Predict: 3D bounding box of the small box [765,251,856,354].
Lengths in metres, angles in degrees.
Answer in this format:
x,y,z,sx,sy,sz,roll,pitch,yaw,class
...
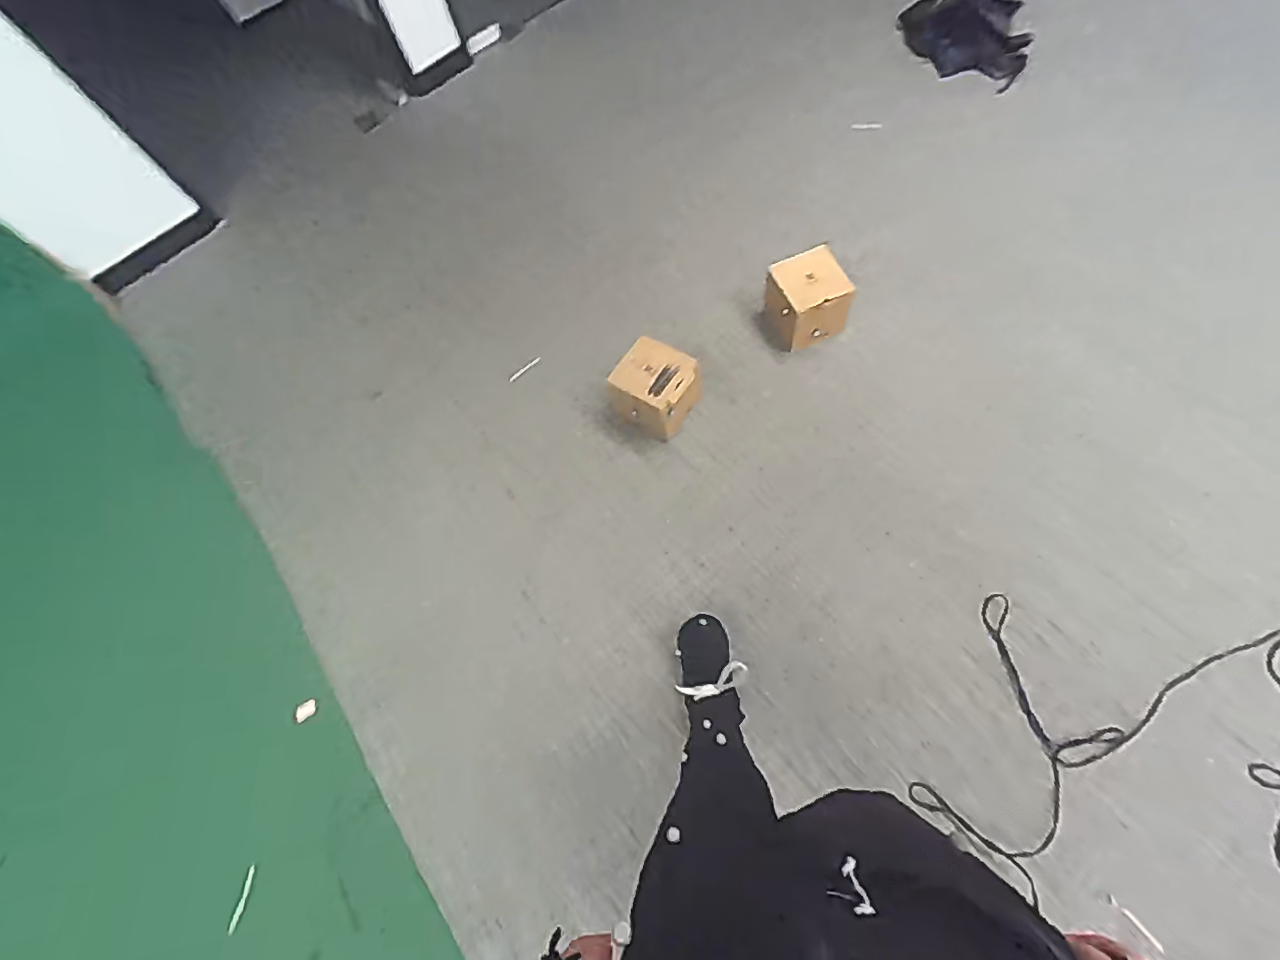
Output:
x,y,z,sx,sy,sz,roll,pitch,yaw,class
0.453,-0.477,1.469,0.168,0.176,0.179,-22,65,-2,small box
